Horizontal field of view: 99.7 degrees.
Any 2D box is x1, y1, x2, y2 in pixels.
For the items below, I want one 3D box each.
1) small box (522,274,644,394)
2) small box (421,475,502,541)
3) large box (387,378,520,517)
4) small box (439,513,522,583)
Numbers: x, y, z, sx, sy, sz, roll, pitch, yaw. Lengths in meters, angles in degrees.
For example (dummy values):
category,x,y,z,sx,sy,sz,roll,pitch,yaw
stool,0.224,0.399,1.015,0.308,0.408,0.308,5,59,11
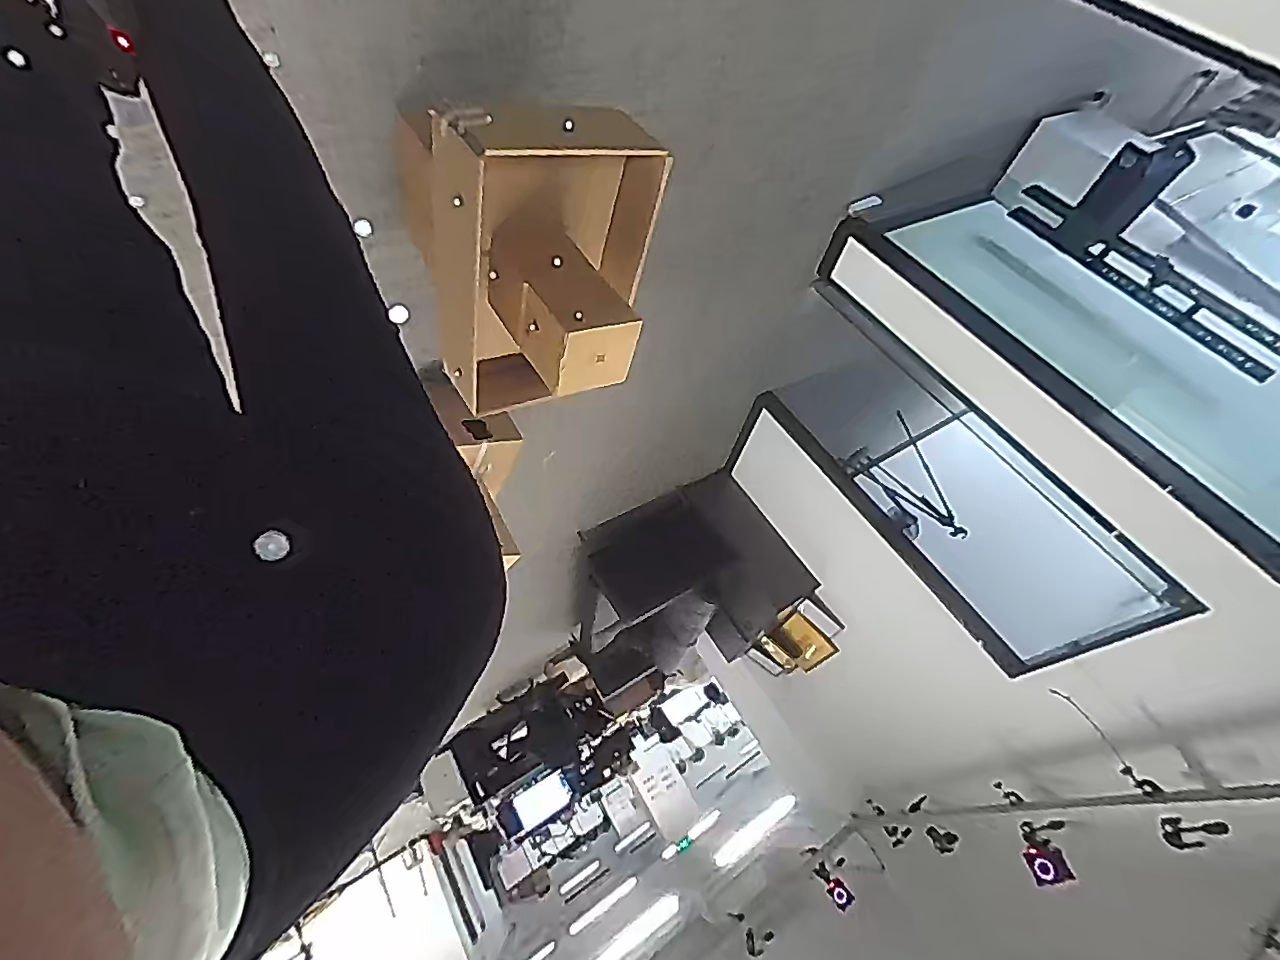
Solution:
category,x,y,z,sx,sy,sz,roll,pitch,yaw
small box,-0.124,-0.308,1.122,0.179,0.176,0.168,-20,151,-30
small box,-0.625,0.099,1.884,0.168,0.176,0.179,-44,155,19
large box,-0.697,-0.124,1.985,0.320,0.320,0.408,-11,146,-44
small box,-0.540,0.226,1.818,0.168,0.176,0.179,-45,153,19
